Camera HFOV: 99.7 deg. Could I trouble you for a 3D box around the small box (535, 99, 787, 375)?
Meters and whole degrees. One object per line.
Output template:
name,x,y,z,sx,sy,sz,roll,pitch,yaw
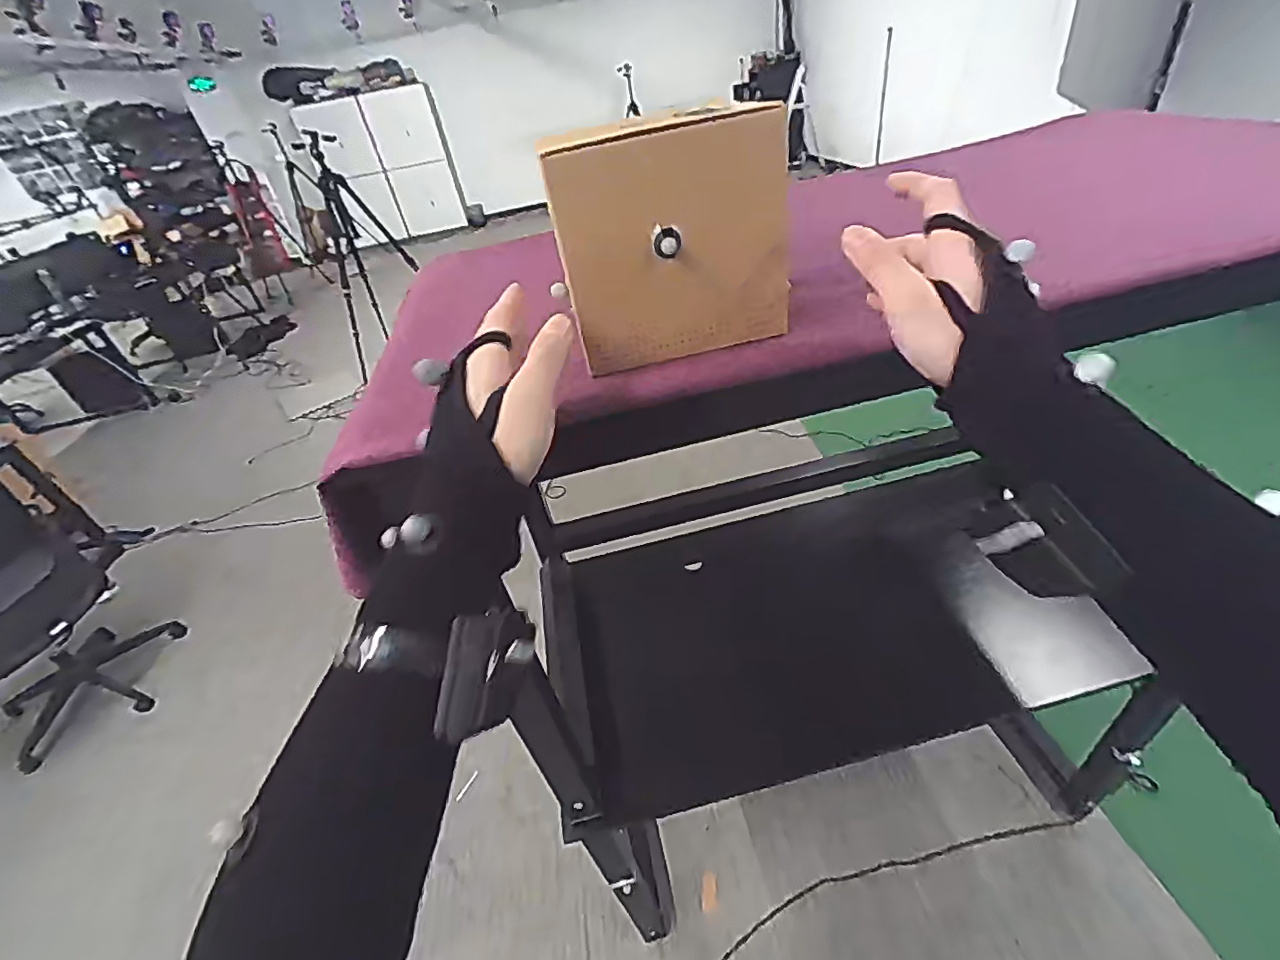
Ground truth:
small box,0.016,-0.214,0.474,0.179,0.176,0.168,-14,37,-1
